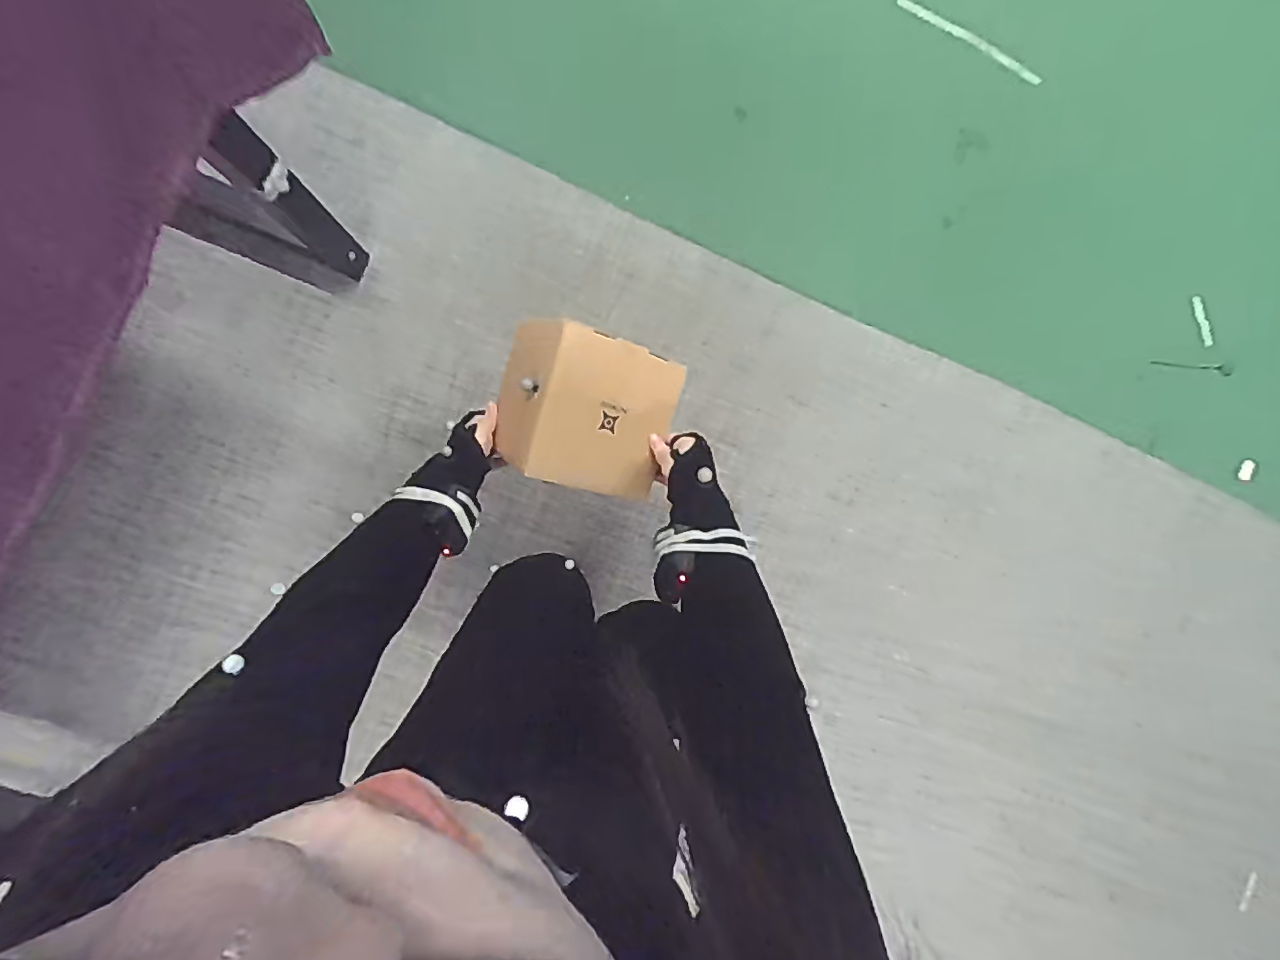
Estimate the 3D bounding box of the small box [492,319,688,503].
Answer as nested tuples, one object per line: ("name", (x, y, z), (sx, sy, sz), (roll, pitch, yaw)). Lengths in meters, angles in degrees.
("small box", (-0.073, -0.089, 0.679), (0.168, 0.176, 0.179), (14, 97, -33))
